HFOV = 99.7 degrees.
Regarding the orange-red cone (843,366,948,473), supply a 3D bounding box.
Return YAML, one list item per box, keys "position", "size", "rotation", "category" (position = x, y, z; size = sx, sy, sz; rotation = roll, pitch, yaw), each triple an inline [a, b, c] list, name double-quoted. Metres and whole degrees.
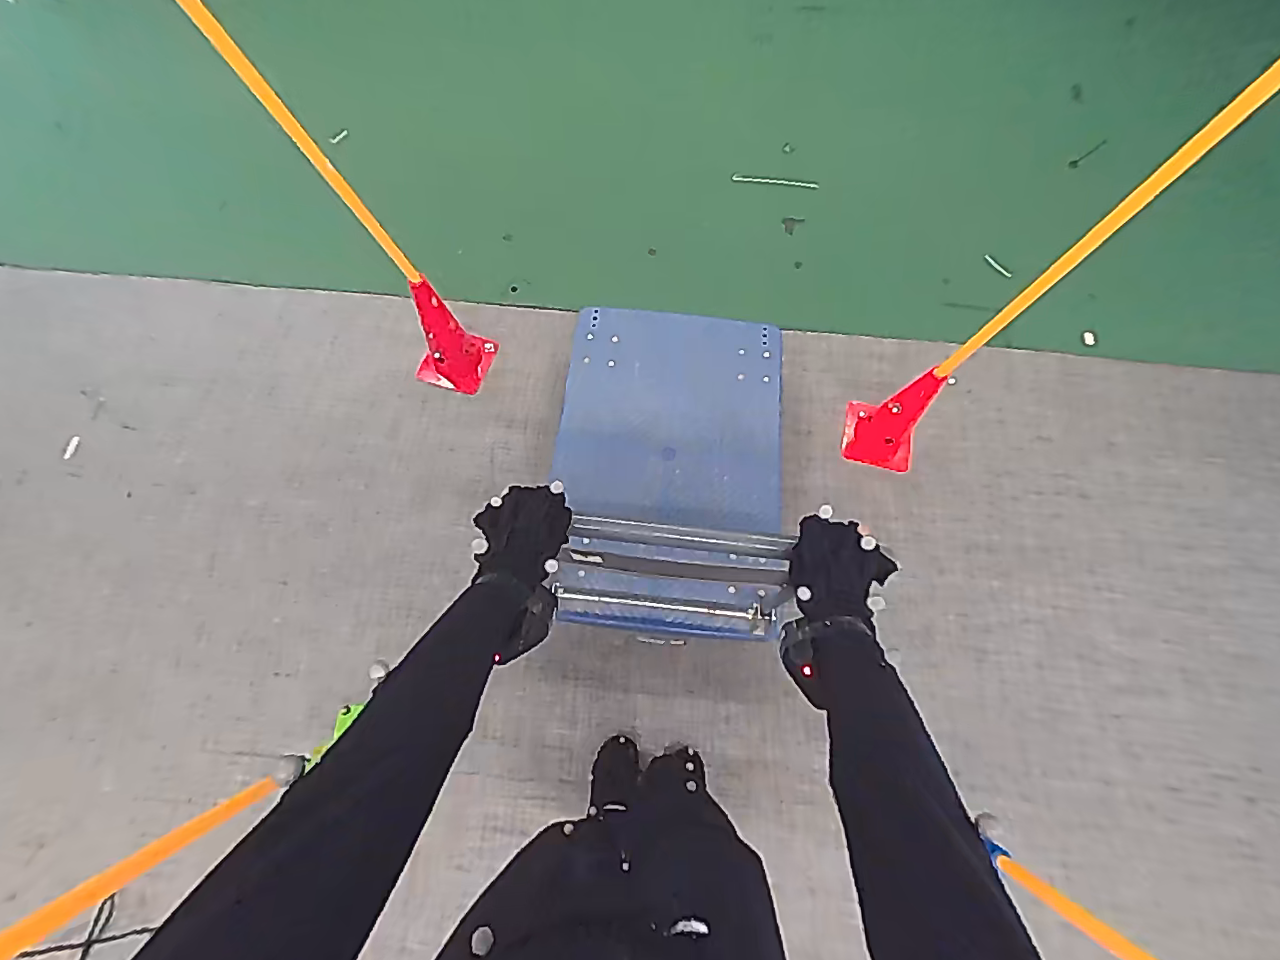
- position: [0.709, -0.188, 1.437]
  size: [0.198, 0.360, 0.199]
  rotation: [15, 70, 5]
  category: "orange-red cone"
